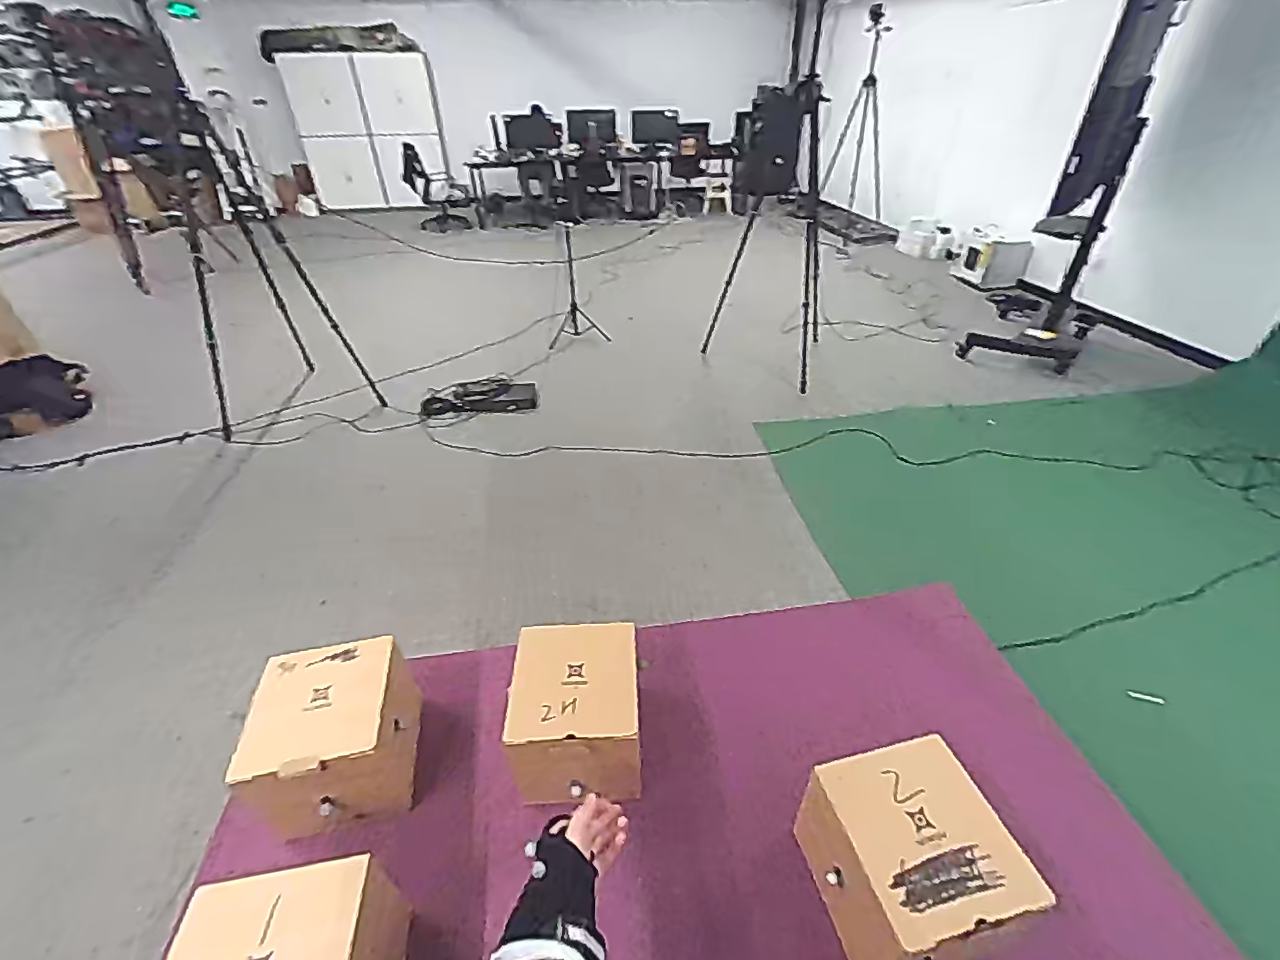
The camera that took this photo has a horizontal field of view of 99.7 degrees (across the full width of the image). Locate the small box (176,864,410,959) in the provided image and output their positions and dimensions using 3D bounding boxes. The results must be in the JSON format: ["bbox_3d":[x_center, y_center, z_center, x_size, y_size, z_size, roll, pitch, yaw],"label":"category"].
[{"bbox_3d":[-0.338,0.518,0.524,0.168,0.176,0.179,-7,35,-7],"label":"small box"}]

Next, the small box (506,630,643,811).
[{"bbox_3d":[-0.081,0.336,0.765,0.168,0.176,0.179,-2,36,0],"label":"small box"}]

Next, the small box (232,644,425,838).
[{"bbox_3d":[-0.406,0.361,0.745,0.168,0.176,0.179,-8,37,-10],"label":"small box"}]
